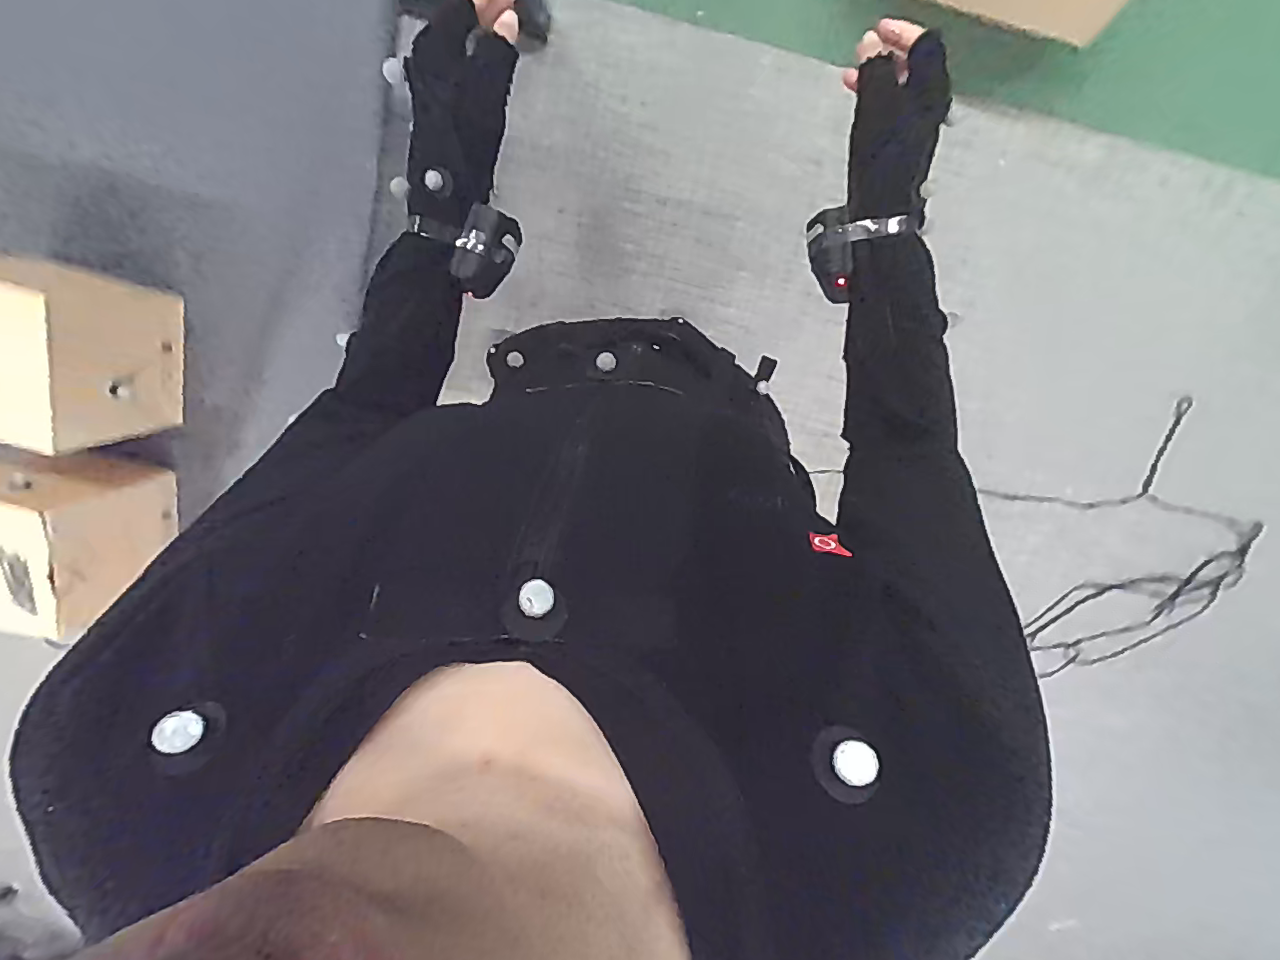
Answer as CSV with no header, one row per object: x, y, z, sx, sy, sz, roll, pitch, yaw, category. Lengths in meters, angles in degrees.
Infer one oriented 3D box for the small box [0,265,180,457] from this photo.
-0.671,-0.143,0.613,0.179,0.176,0.168,15,107,-2,small box

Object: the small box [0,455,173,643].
-0.736,0.075,0.681,0.179,0.176,0.168,12,107,-1,small box
